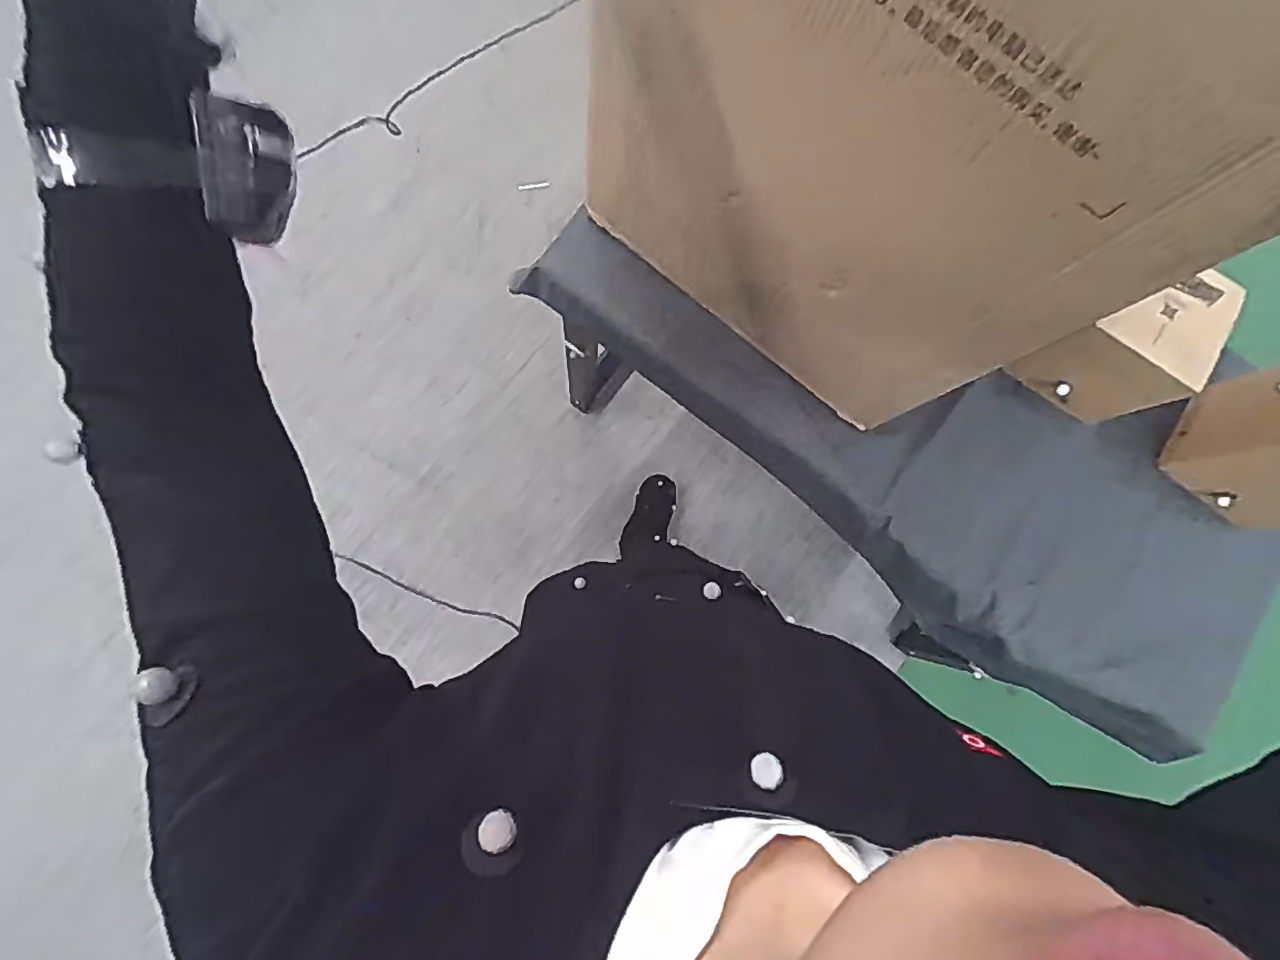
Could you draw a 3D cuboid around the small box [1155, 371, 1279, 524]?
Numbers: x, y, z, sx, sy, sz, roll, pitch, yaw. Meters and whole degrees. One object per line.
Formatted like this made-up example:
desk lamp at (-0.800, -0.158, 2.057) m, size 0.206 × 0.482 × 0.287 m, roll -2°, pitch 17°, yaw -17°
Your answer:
small box at (0.938, -0.048, 0.795) m, size 0.179 × 0.176 × 0.168 m, roll 37°, pitch 79°, yaw 0°
